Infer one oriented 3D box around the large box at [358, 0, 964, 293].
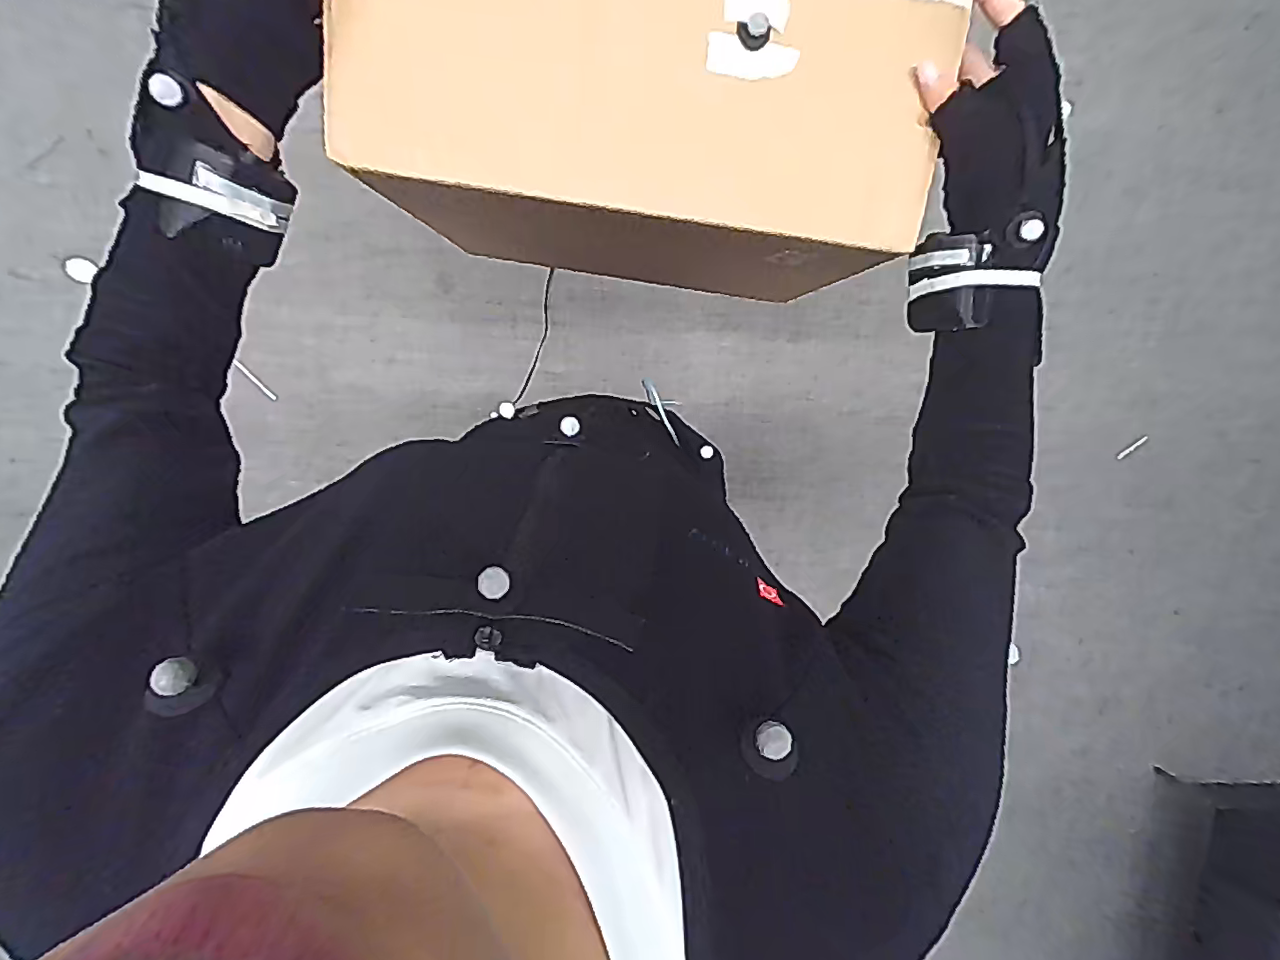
[{"bbox_3d":[0.016,-0.372,0.496,0.408,0.320,0.320,7,103,-3],"label":"large box"}]
